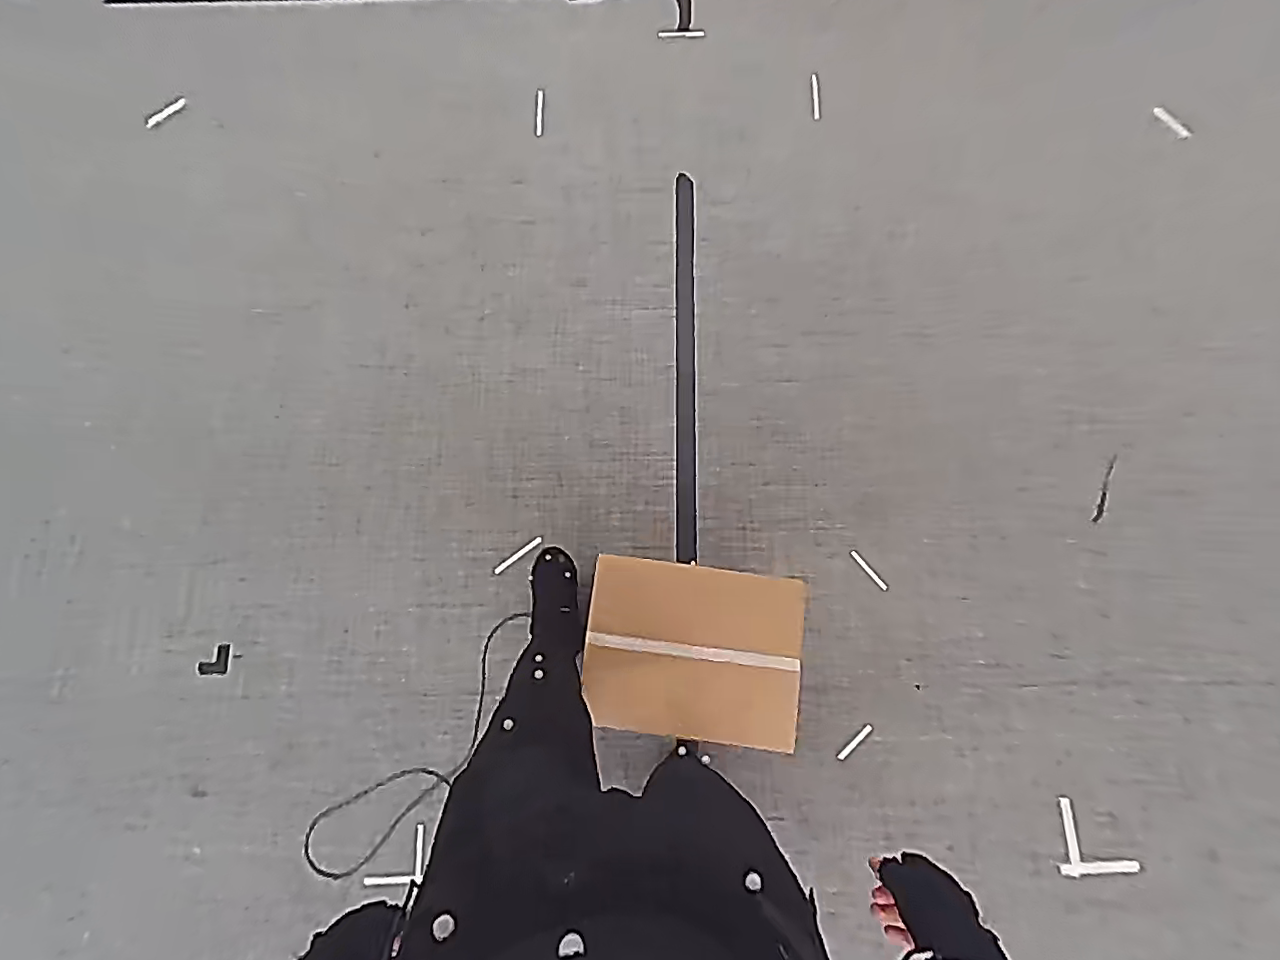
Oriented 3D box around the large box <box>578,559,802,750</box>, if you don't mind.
[{"bbox_3d":[0.099,0.348,1.158,0.408,0.320,0.320,7,79,0],"label":"large box"}]
